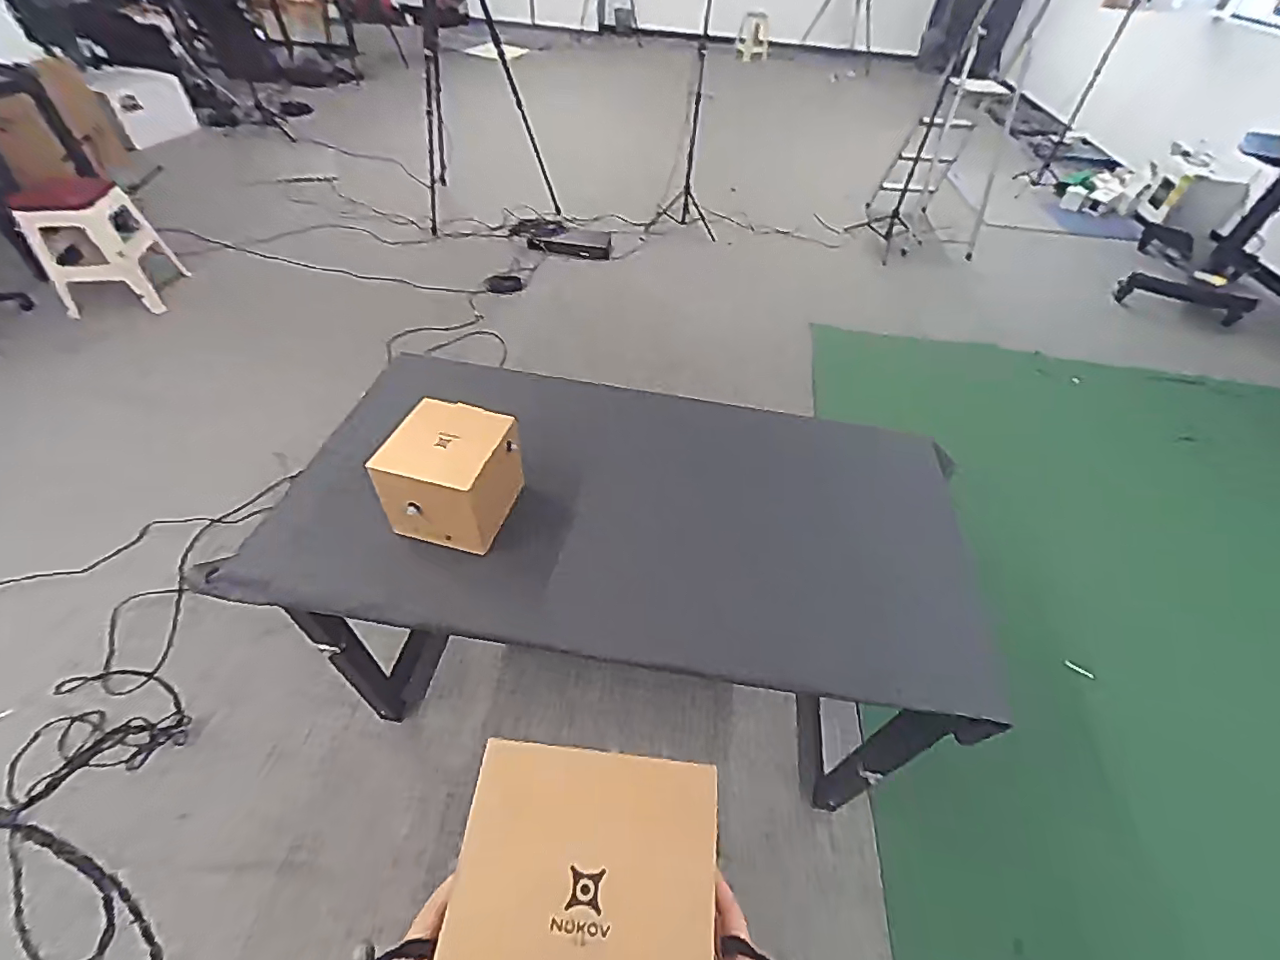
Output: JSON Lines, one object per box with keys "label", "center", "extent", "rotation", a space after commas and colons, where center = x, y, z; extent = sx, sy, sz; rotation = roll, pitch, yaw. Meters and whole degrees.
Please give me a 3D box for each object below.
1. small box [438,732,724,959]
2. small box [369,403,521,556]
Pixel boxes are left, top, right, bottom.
{"label": "small box", "center": [-0.036, 0.309, 0.402], "extent": [0.168, 0.176, 0.179], "rotation": [7, 55, 4]}
{"label": "small box", "center": [-0.310, 0.002, 0.907], "extent": [0.168, 0.176, 0.179], "rotation": [13, 46, 7]}
